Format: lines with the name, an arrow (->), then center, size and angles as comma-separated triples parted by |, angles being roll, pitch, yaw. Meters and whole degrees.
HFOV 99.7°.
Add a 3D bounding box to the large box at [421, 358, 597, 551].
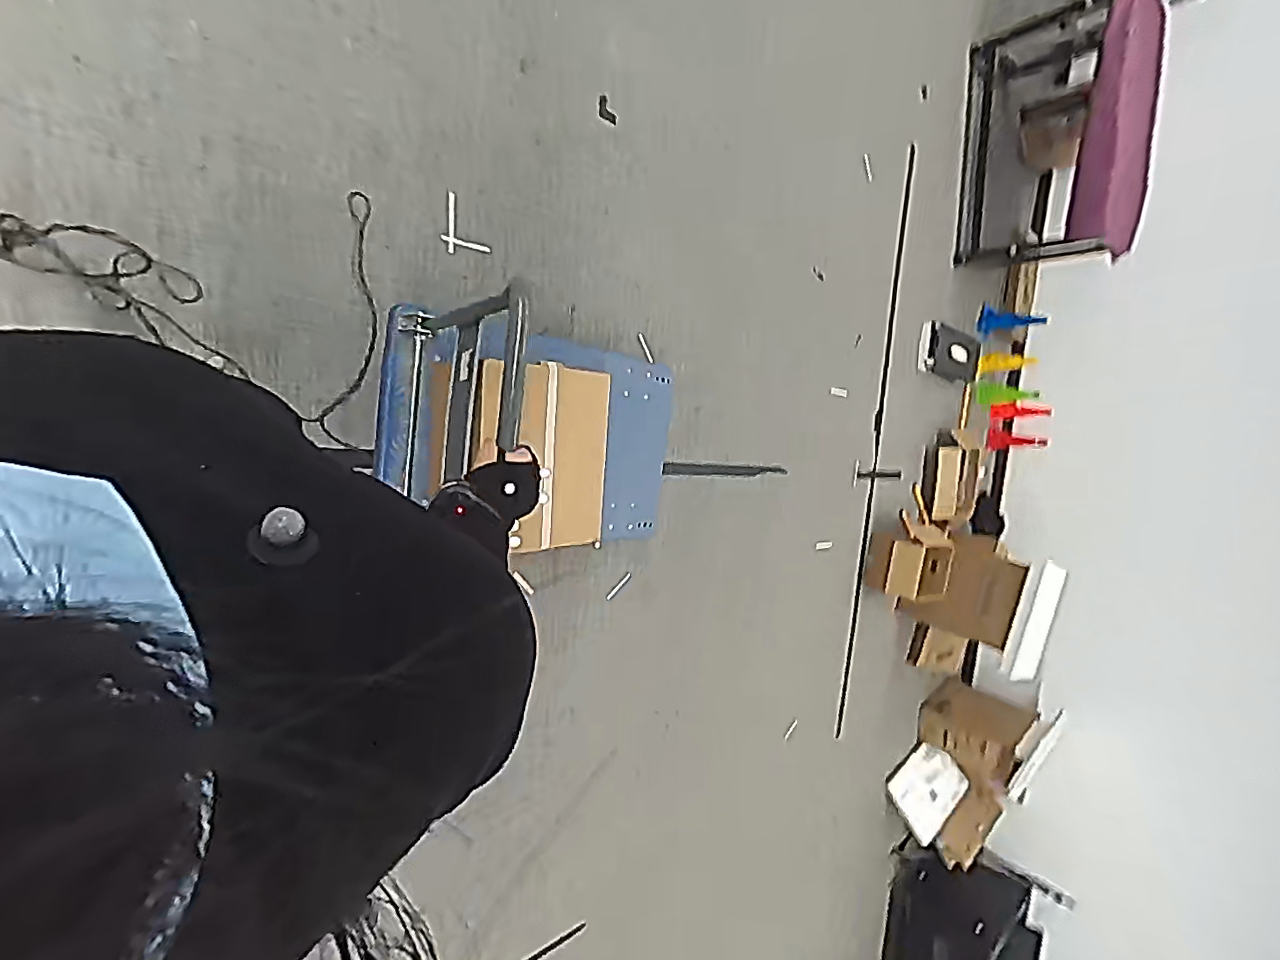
large box -> -0.324, -0.077, 1.303 | 0.320, 0.320, 0.408 | -2, 100, -39
